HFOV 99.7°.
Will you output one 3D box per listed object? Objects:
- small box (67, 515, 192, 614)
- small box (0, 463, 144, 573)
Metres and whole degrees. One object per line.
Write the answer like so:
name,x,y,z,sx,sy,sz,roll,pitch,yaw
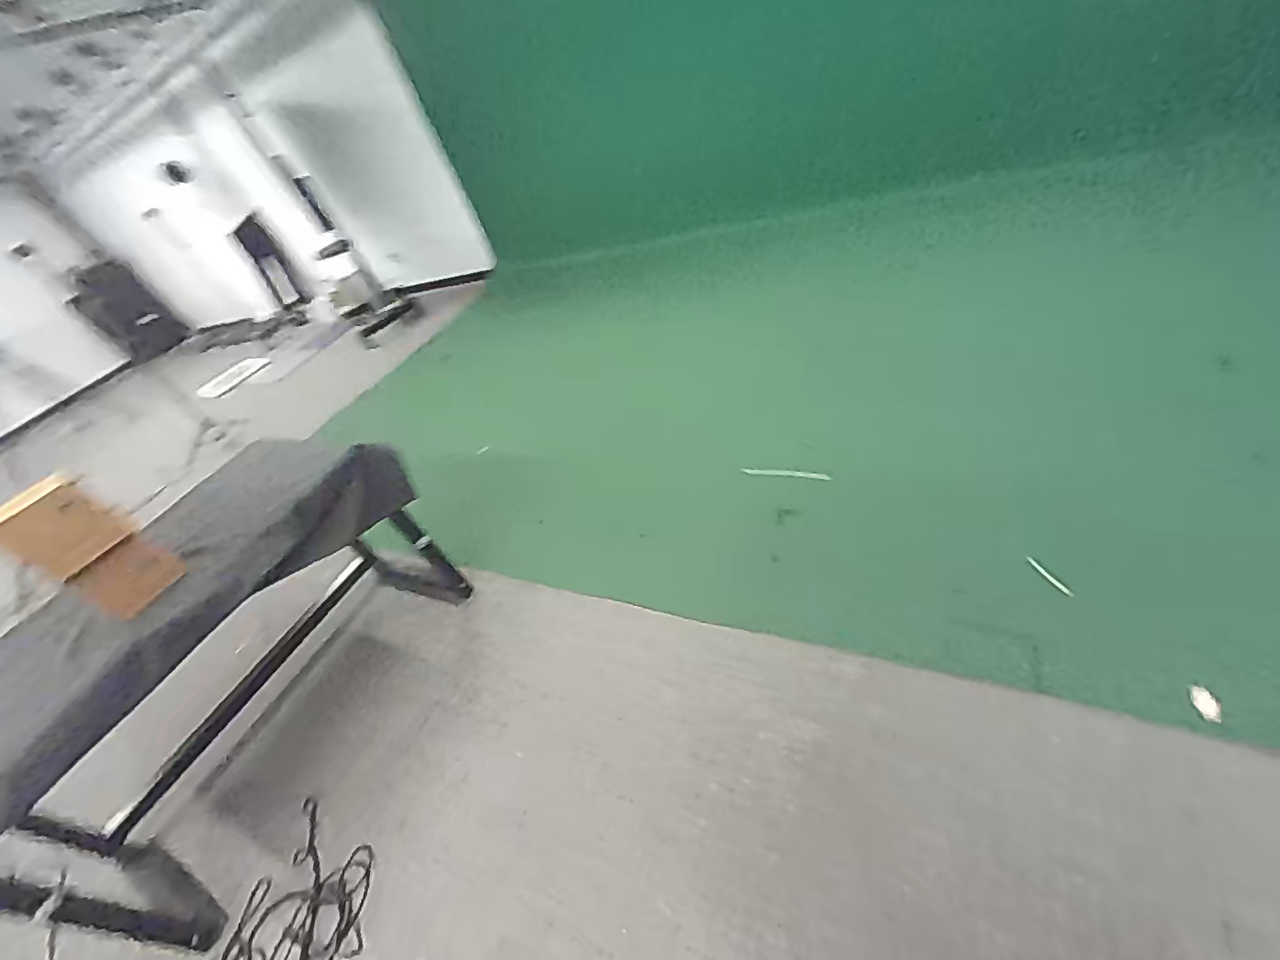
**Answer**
small box,-1.278,0.203,1.359,0.168,0.176,0.179,11,51,38
small box,-1.314,0.088,1.248,0.168,0.176,0.179,13,51,39
